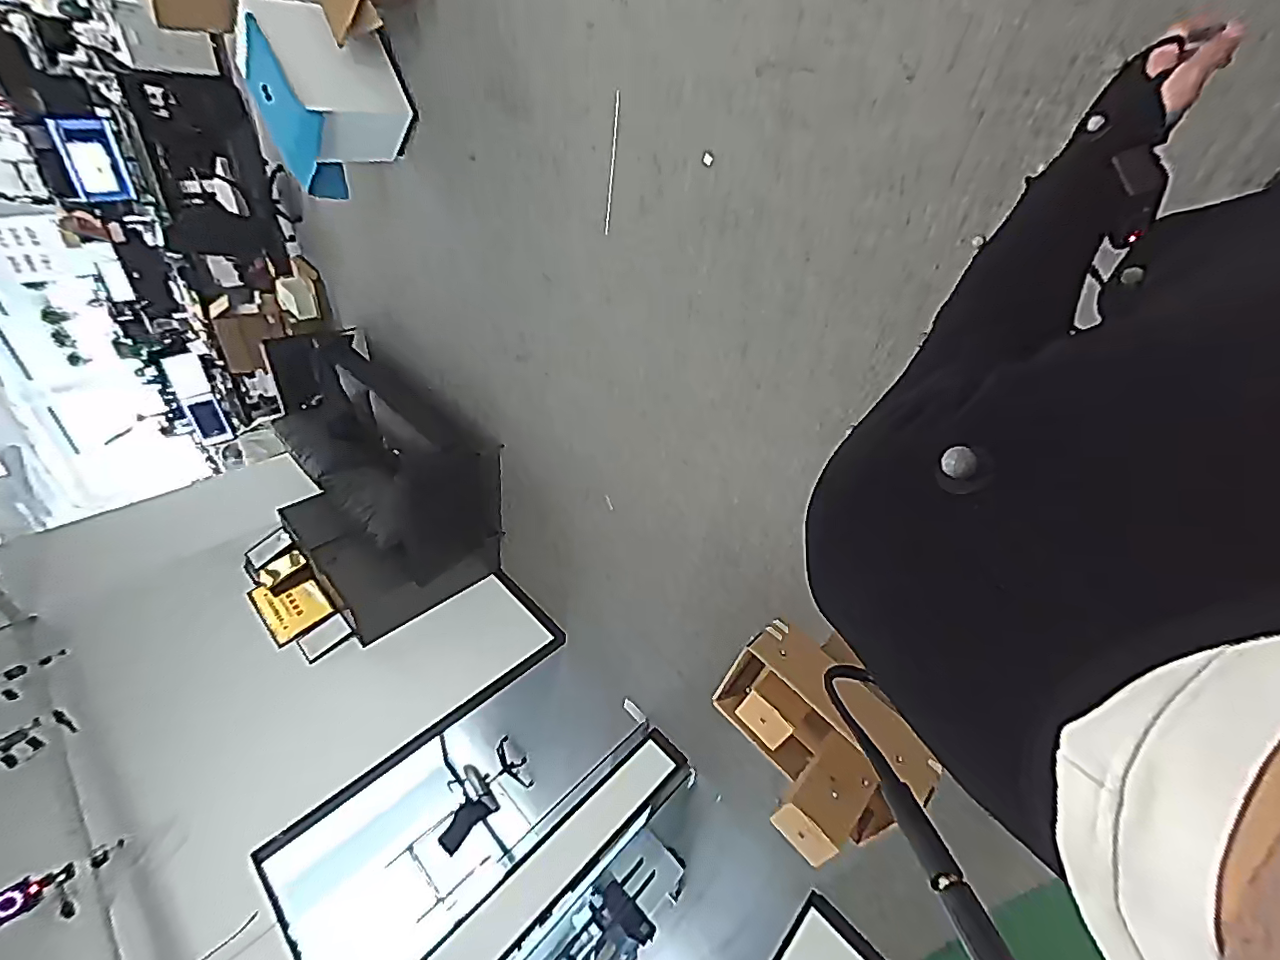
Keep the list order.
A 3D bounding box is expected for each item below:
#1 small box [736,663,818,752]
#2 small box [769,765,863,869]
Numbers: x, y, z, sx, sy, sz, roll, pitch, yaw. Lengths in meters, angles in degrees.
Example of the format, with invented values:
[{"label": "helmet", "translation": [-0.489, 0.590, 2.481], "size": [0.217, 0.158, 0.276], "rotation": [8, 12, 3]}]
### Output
[{"label": "small box", "translation": [0.449, 0.739, 1.767], "size": [0.168, 0.176, 0.179], "rotation": [41, 137, 25]}, {"label": "small box", "translation": [0.512, 0.971, 1.565], "size": [0.168, 0.176, 0.179], "rotation": [40, 137, 25]}]
